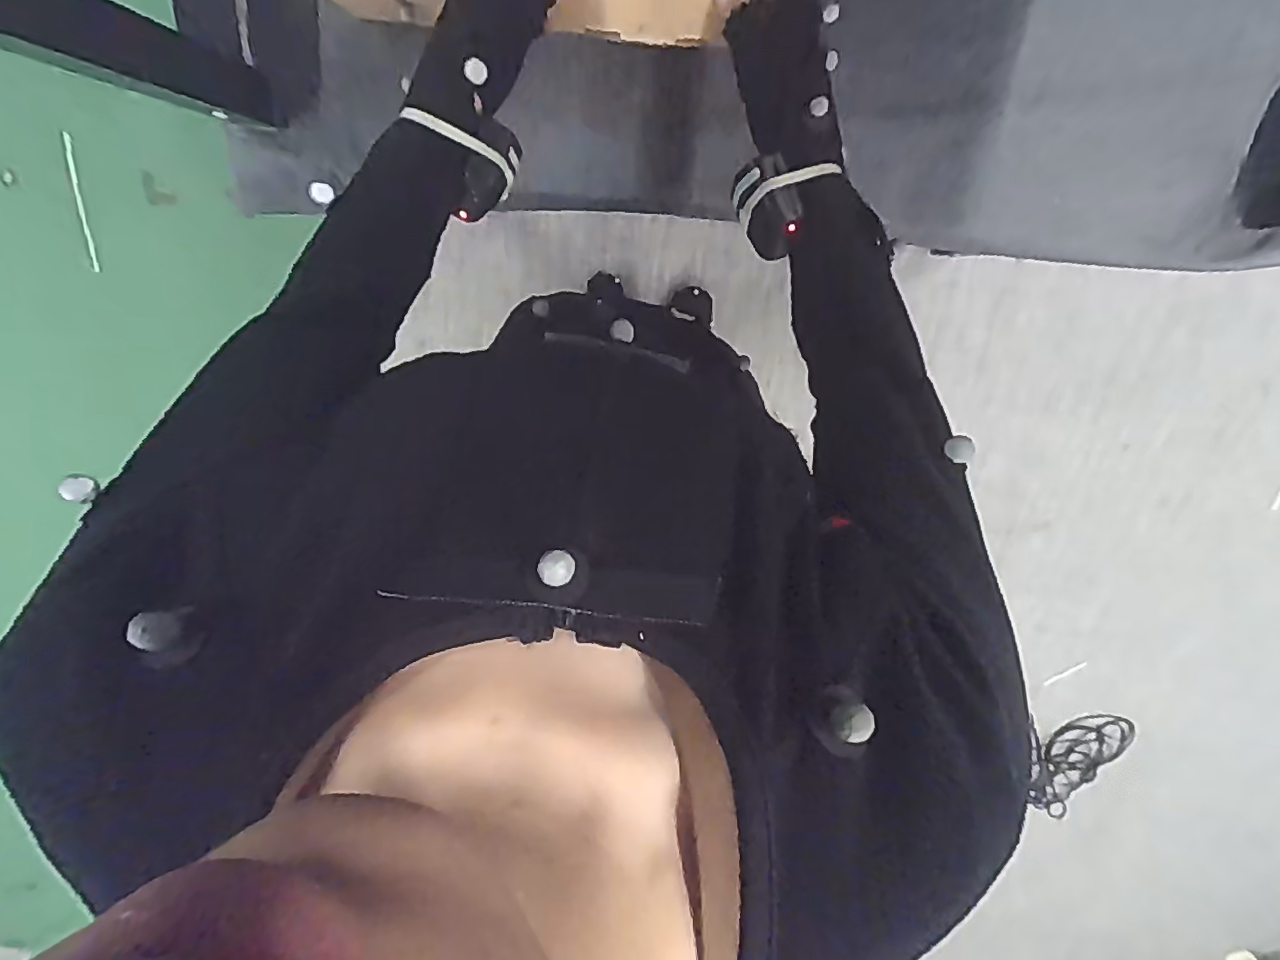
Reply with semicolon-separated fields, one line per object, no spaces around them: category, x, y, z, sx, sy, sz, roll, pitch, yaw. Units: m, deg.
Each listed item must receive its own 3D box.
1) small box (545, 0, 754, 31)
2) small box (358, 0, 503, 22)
small box;0.018;-0.478;0.403;0.168;0.176;0.179;7;146;1
small box;-0.217;-0.538;0.457;0.168;0.176;0.179;7;111;1
